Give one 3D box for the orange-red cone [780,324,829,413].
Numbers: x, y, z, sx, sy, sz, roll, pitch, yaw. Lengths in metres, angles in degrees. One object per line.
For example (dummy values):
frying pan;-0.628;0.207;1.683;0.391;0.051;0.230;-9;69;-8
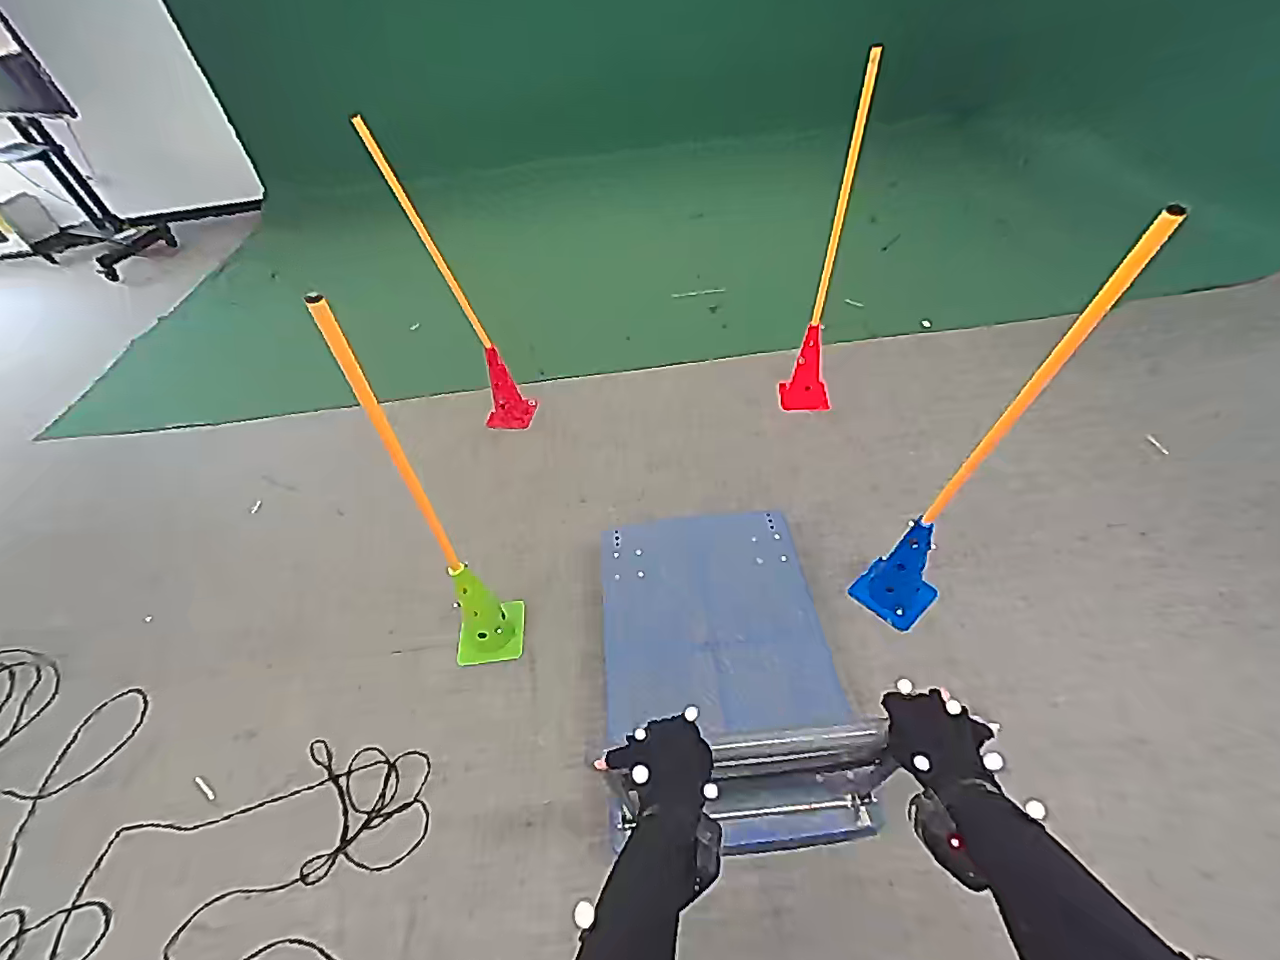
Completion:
orange-red cone;0.692;-0.472;2.221;0.198;0.360;0.199;1;47;9
